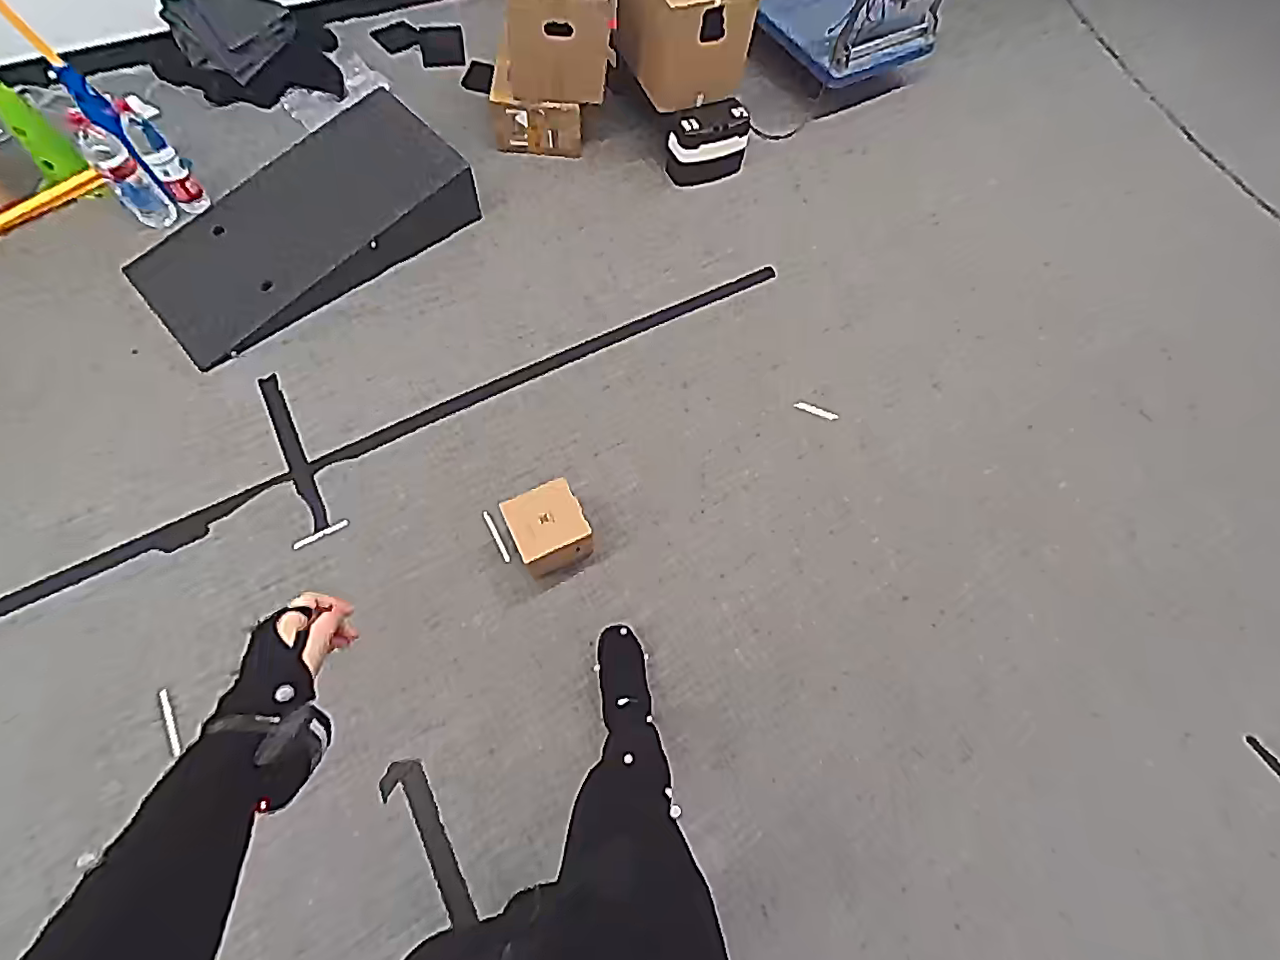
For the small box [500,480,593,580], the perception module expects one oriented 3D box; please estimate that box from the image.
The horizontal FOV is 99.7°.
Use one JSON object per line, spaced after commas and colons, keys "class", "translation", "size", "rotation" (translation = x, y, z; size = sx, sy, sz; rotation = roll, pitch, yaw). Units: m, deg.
{"class": "small box", "translation": [-0.230, 0.129, 1.352], "size": [0.179, 0.176, 0.168], "rotation": [-24, 70, -14]}
